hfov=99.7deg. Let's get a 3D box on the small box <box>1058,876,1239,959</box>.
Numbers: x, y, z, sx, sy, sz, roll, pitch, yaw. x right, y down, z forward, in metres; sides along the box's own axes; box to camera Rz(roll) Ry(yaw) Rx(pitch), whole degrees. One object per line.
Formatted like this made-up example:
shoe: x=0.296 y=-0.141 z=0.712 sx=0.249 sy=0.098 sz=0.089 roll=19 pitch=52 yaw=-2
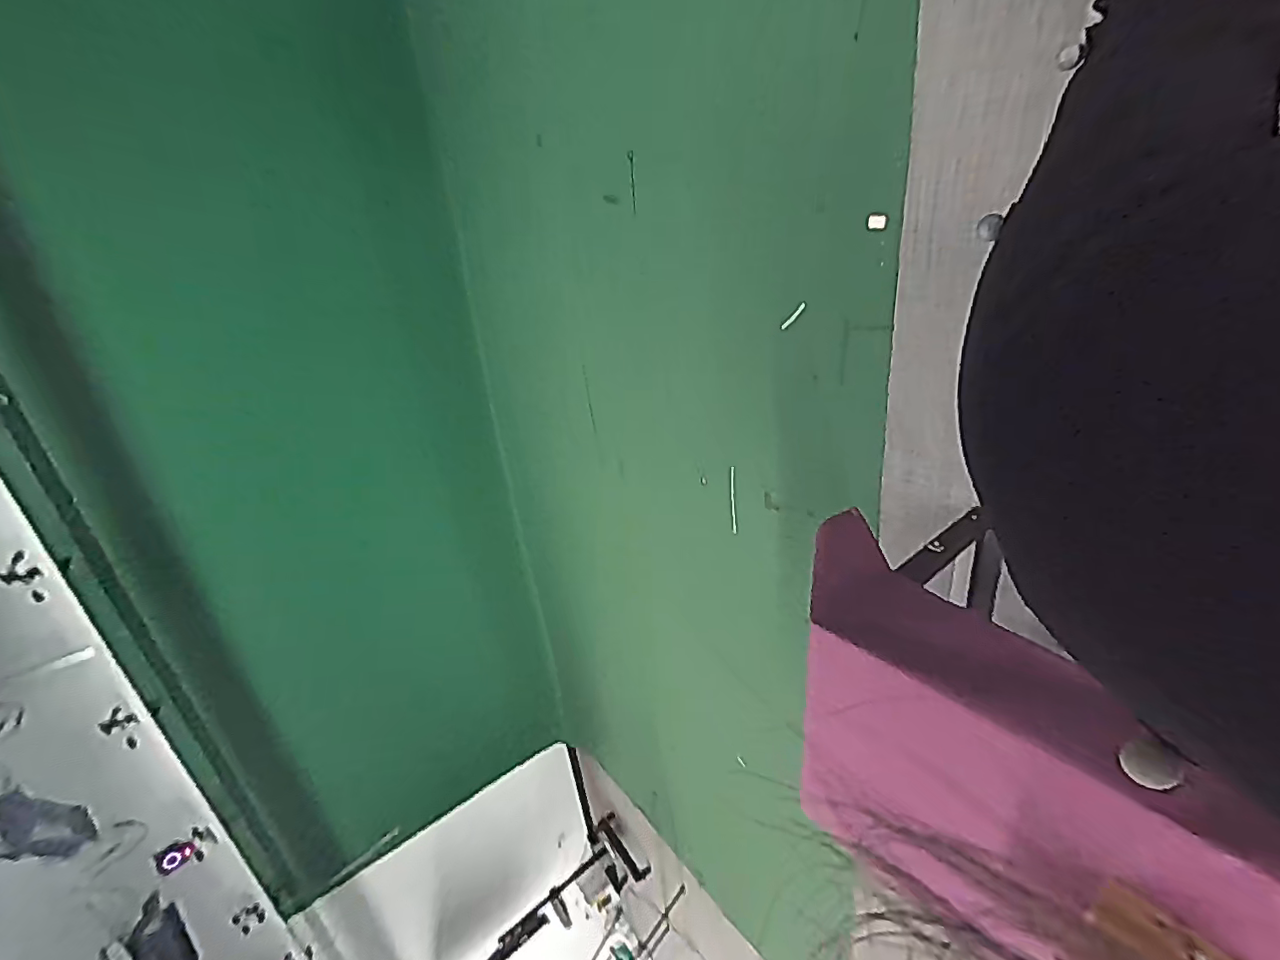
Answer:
small box: x=0.677 y=0.697 z=0.726 sx=0.168 sy=0.176 sz=0.179 roll=28 pitch=130 yaw=45
